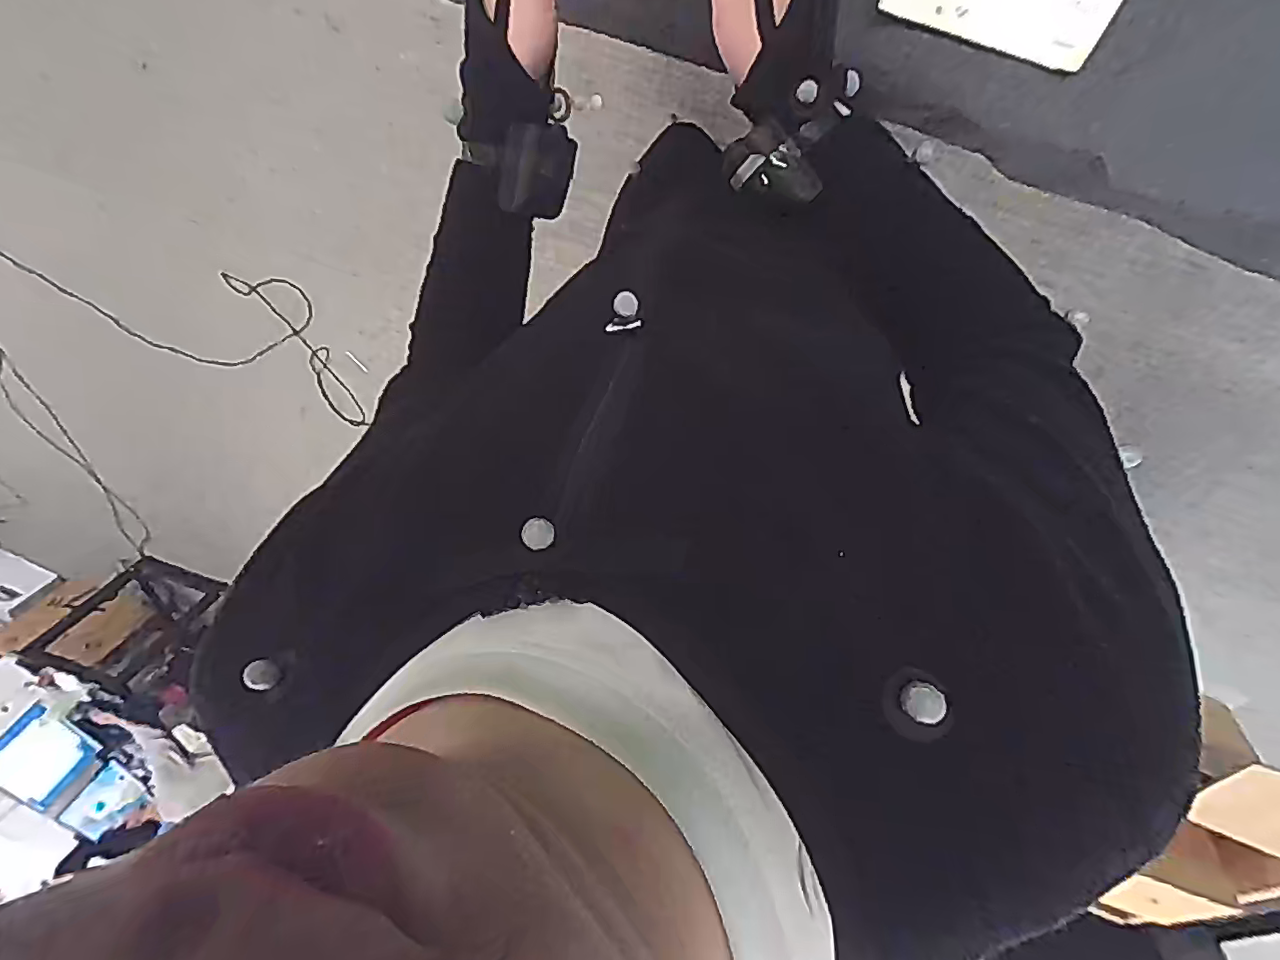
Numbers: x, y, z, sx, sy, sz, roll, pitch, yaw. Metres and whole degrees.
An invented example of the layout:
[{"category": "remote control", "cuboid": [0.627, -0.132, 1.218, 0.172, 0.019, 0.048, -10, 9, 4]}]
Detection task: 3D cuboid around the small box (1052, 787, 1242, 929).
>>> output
[{"category": "small box", "cuboid": [0.938, 0.711, 1.026, 0.179, 0.176, 0.168, 17, 134, 3]}]
